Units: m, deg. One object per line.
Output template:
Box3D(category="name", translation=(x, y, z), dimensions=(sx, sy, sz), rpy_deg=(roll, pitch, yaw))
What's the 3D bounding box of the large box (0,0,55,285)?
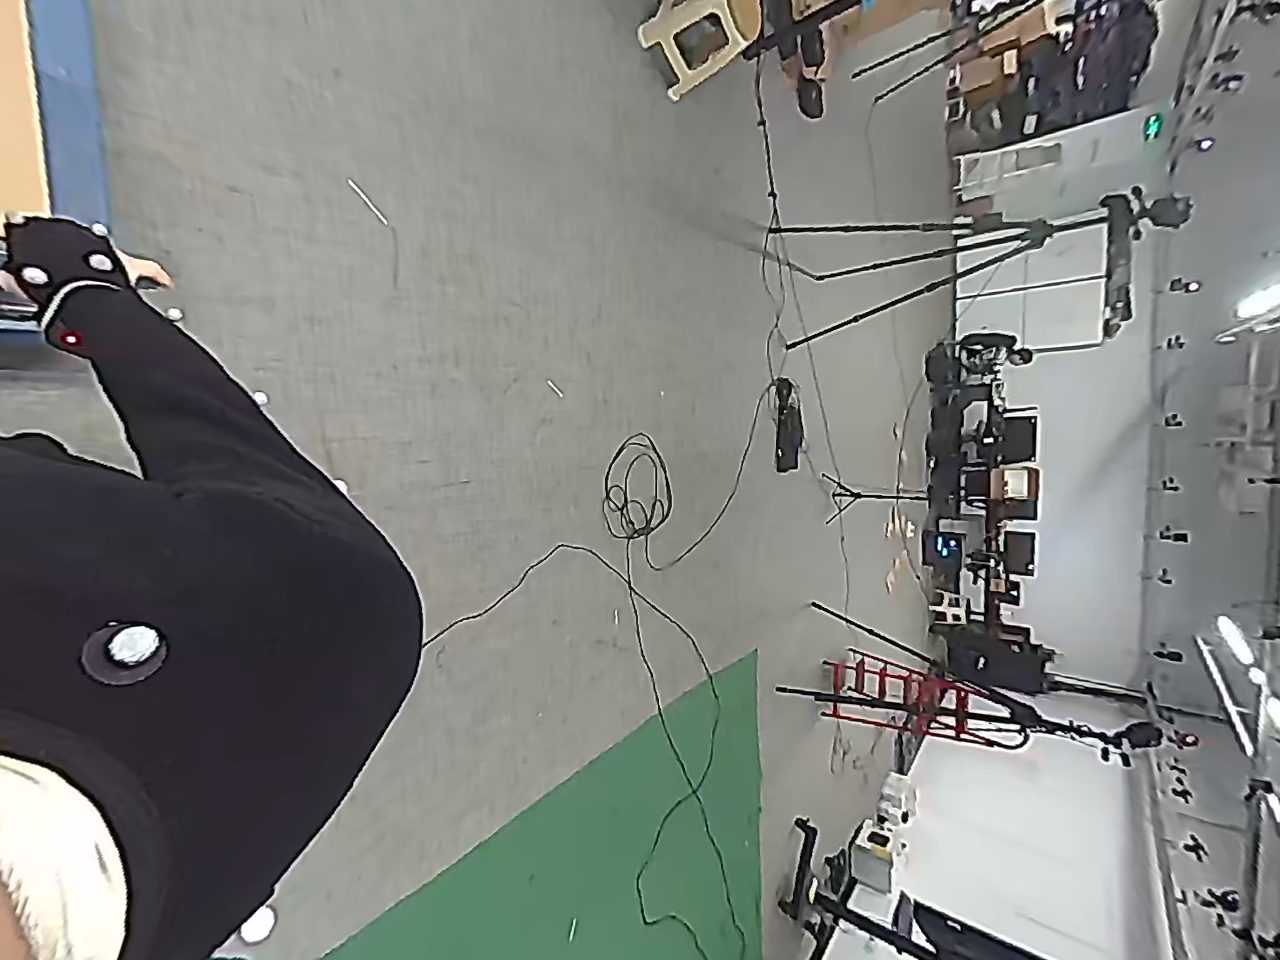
Box3D(category="large box", translation=(-1.106, -0.533, 0.774), dimensions=(0.320, 0.320, 0.408), rpy_deg=(-10, 98, -50))
